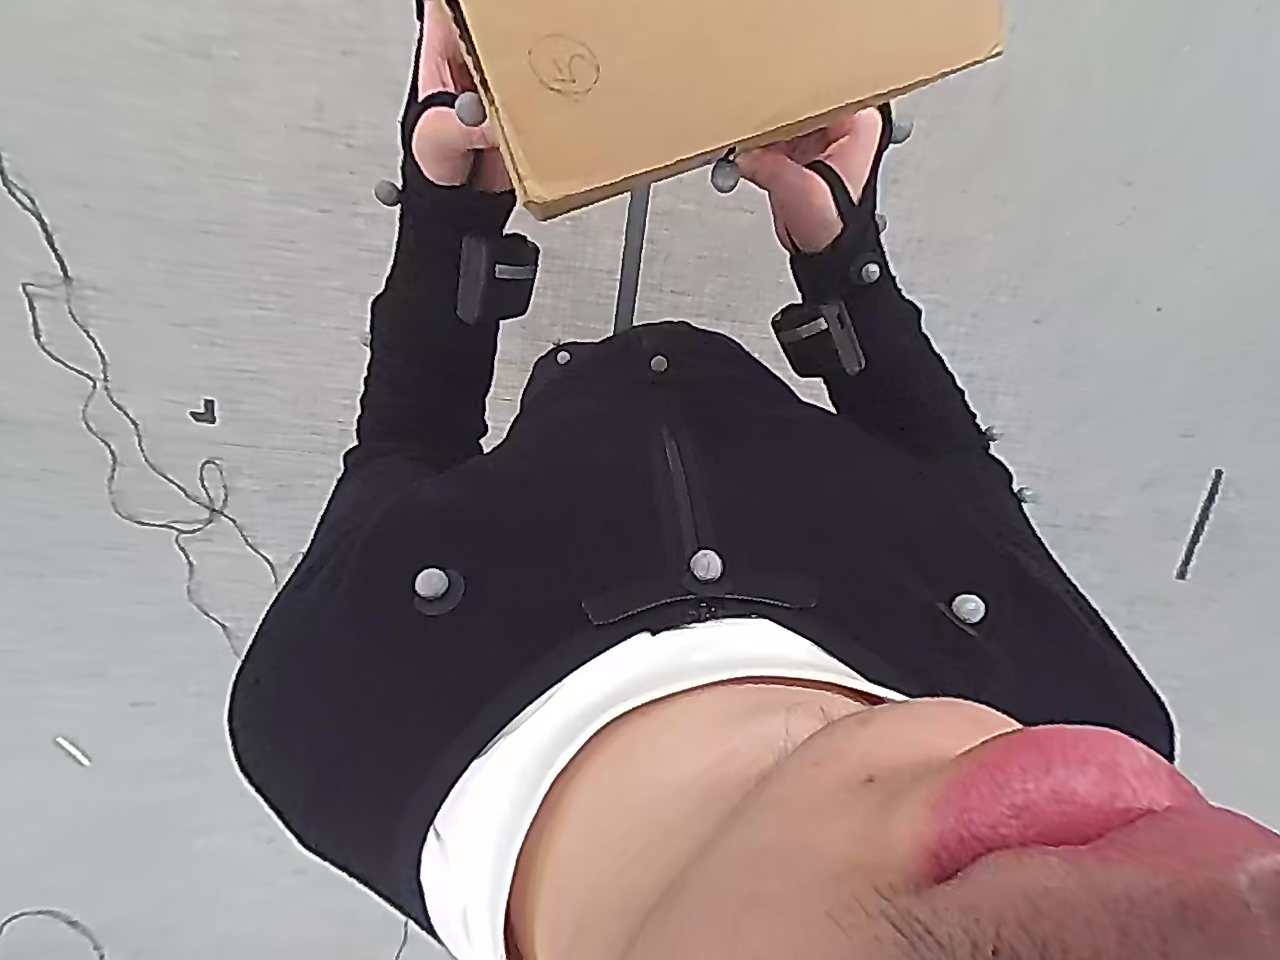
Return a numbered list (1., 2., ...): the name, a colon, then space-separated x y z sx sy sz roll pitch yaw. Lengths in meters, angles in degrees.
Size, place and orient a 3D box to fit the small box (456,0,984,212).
1. small box: 0.008 -0.228 0.233 0.179 0.176 0.168 -19 116 -1
